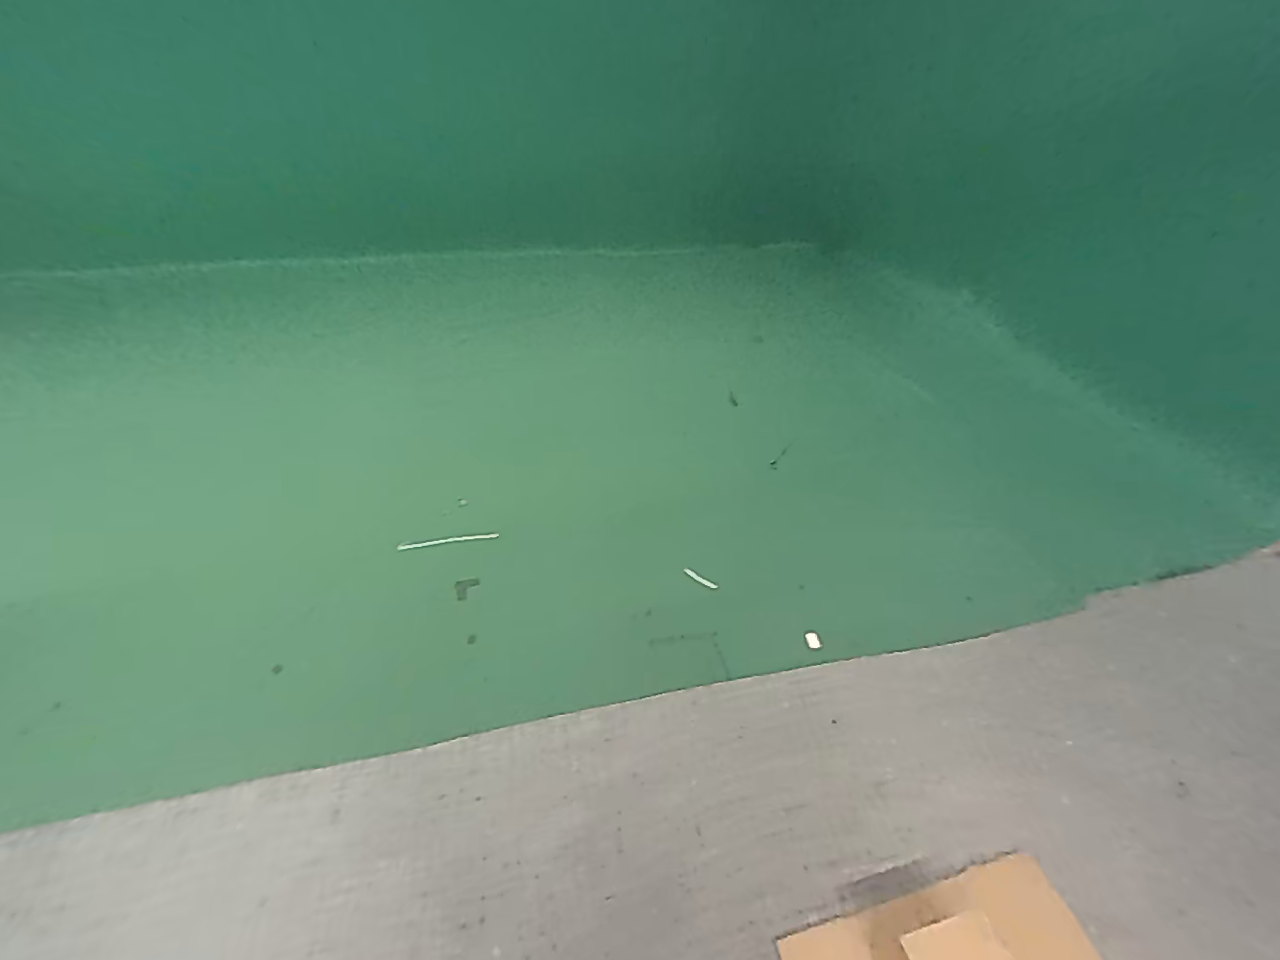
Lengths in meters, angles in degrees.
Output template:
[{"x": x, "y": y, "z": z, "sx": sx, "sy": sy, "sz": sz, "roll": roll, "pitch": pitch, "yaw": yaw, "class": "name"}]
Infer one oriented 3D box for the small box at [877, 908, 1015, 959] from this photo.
[{"x": 0.552, "y": 0.888, "z": 0.945, "sx": 0.179, "sy": 0.176, "sz": 0.168, "roll": -9, "pitch": 43, "yaw": -12, "class": "small box"}]
